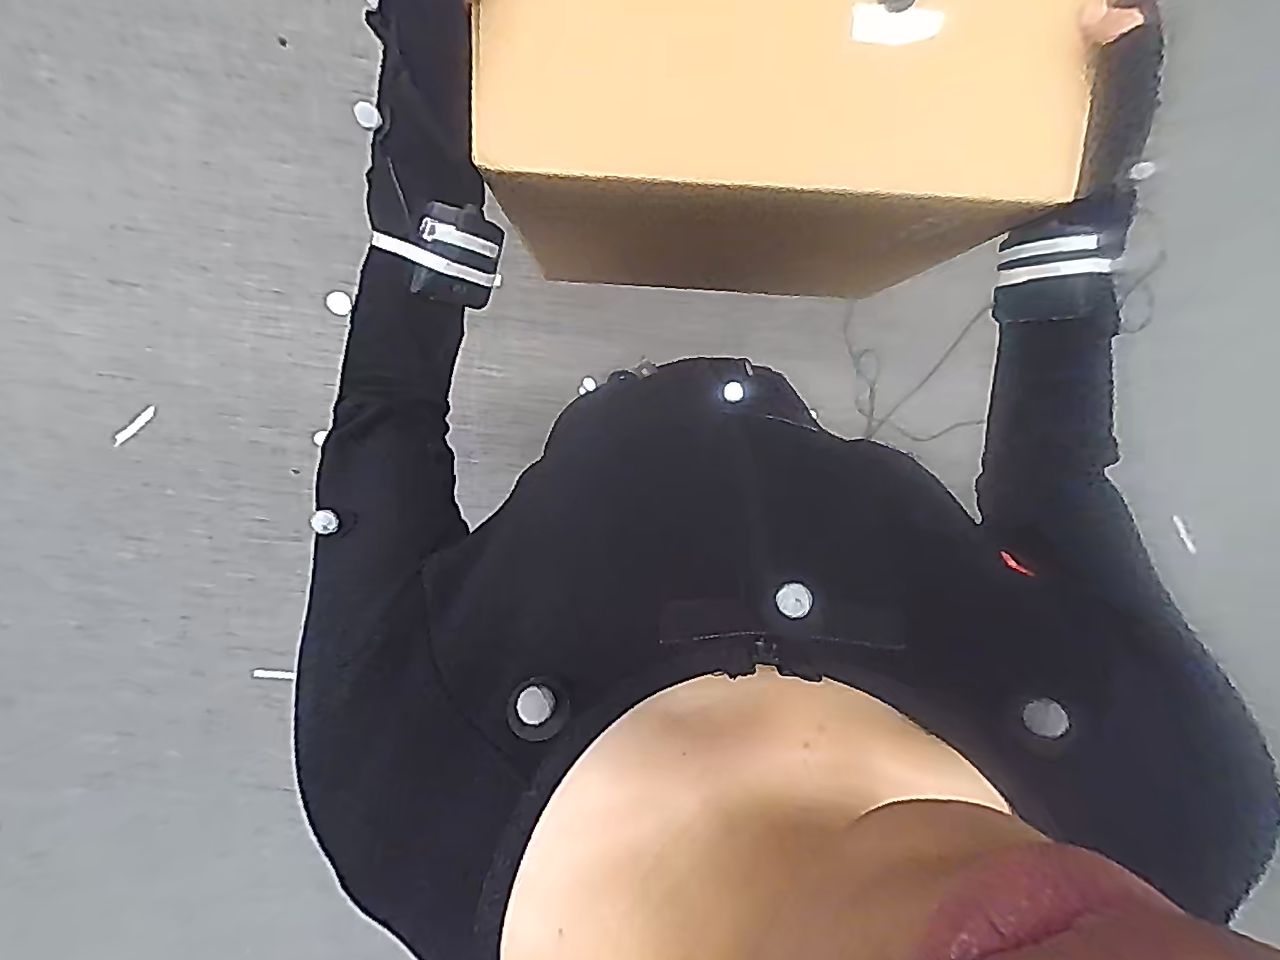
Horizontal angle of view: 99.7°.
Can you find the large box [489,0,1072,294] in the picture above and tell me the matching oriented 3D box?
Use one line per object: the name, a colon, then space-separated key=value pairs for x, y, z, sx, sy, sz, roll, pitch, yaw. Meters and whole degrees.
large box: x=0.092 y=-0.372 z=0.510 sx=0.408 sy=0.320 sz=0.320 roll=2 pitch=97 yaw=-2
